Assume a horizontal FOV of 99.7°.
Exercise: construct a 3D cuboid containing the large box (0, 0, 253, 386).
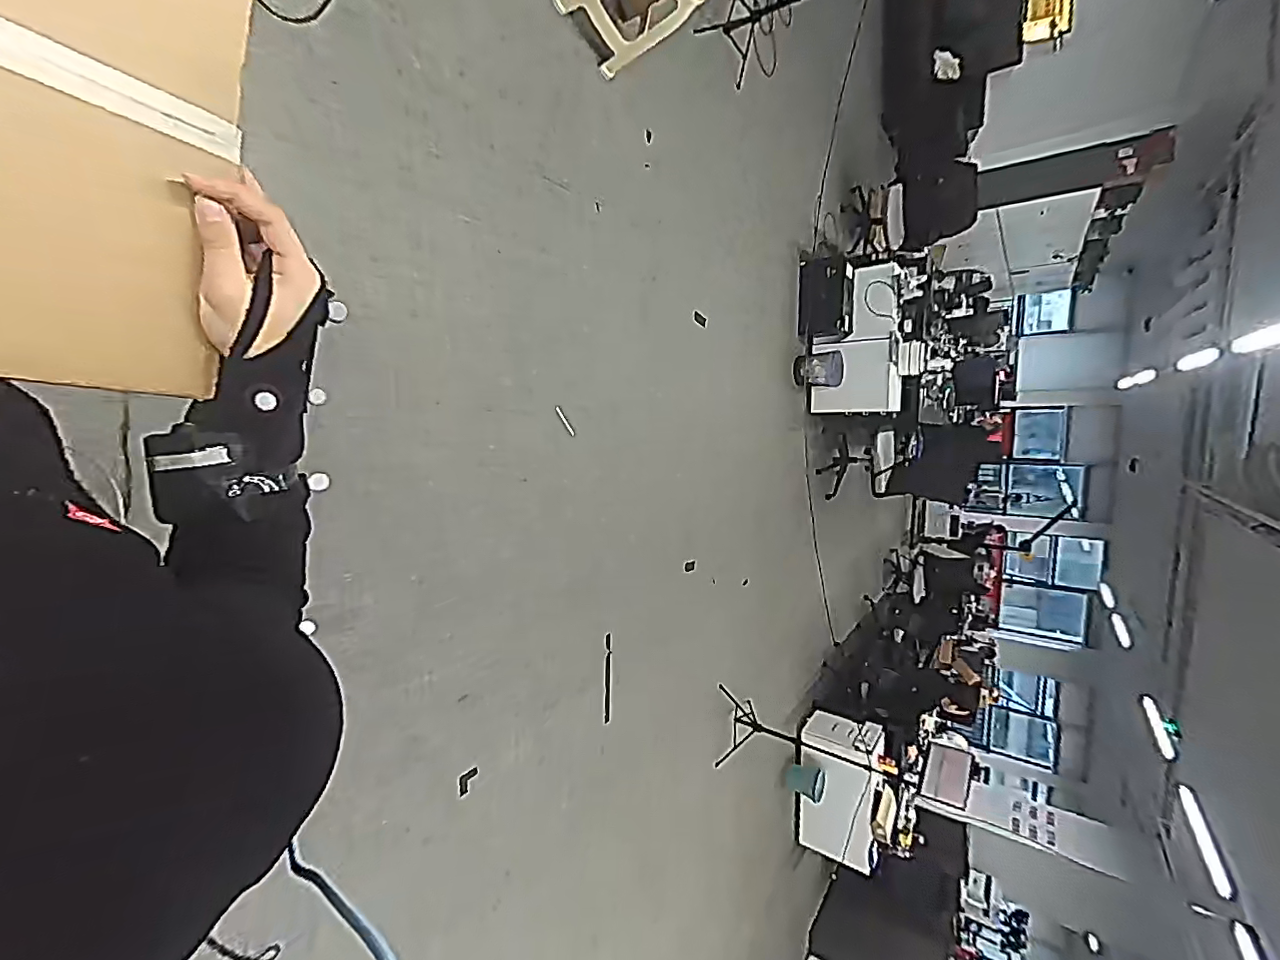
[{"bbox_3d":[-0.487,-0.240,0.261,0.408,0.320,0.320,0,104,-56],"label":"large box"}]
